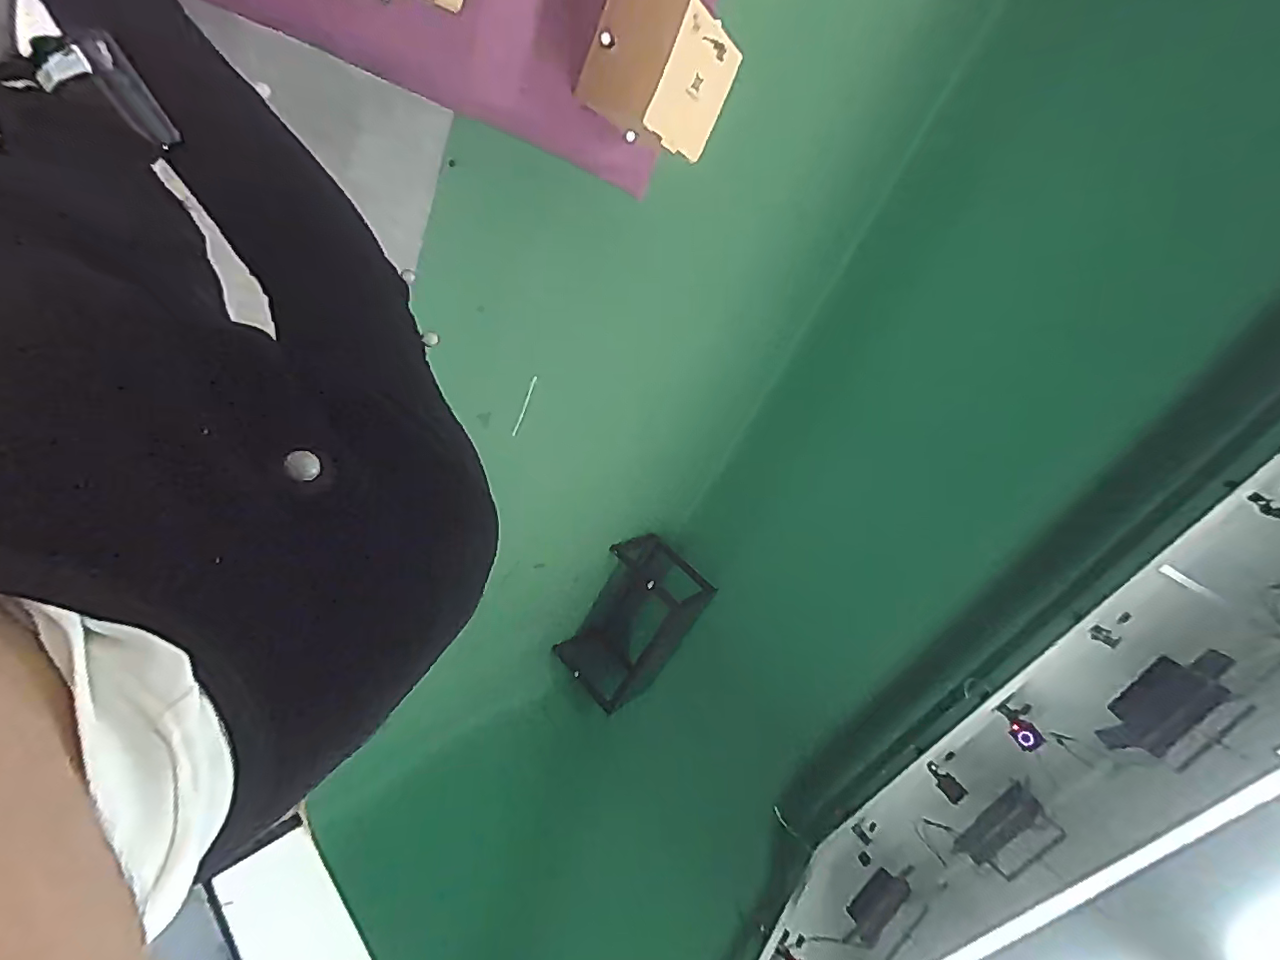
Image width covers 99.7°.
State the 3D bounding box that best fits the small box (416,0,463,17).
[{"bbox_3d":[-0.268,-0.594,0.510,0.168,0.176,0.179,-18,140,-49],"label":"small box"}]

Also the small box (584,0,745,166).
[{"bbox_3d":[0.033,-0.664,0.891,0.168,0.176,0.179,-8,133,-54],"label":"small box"}]
